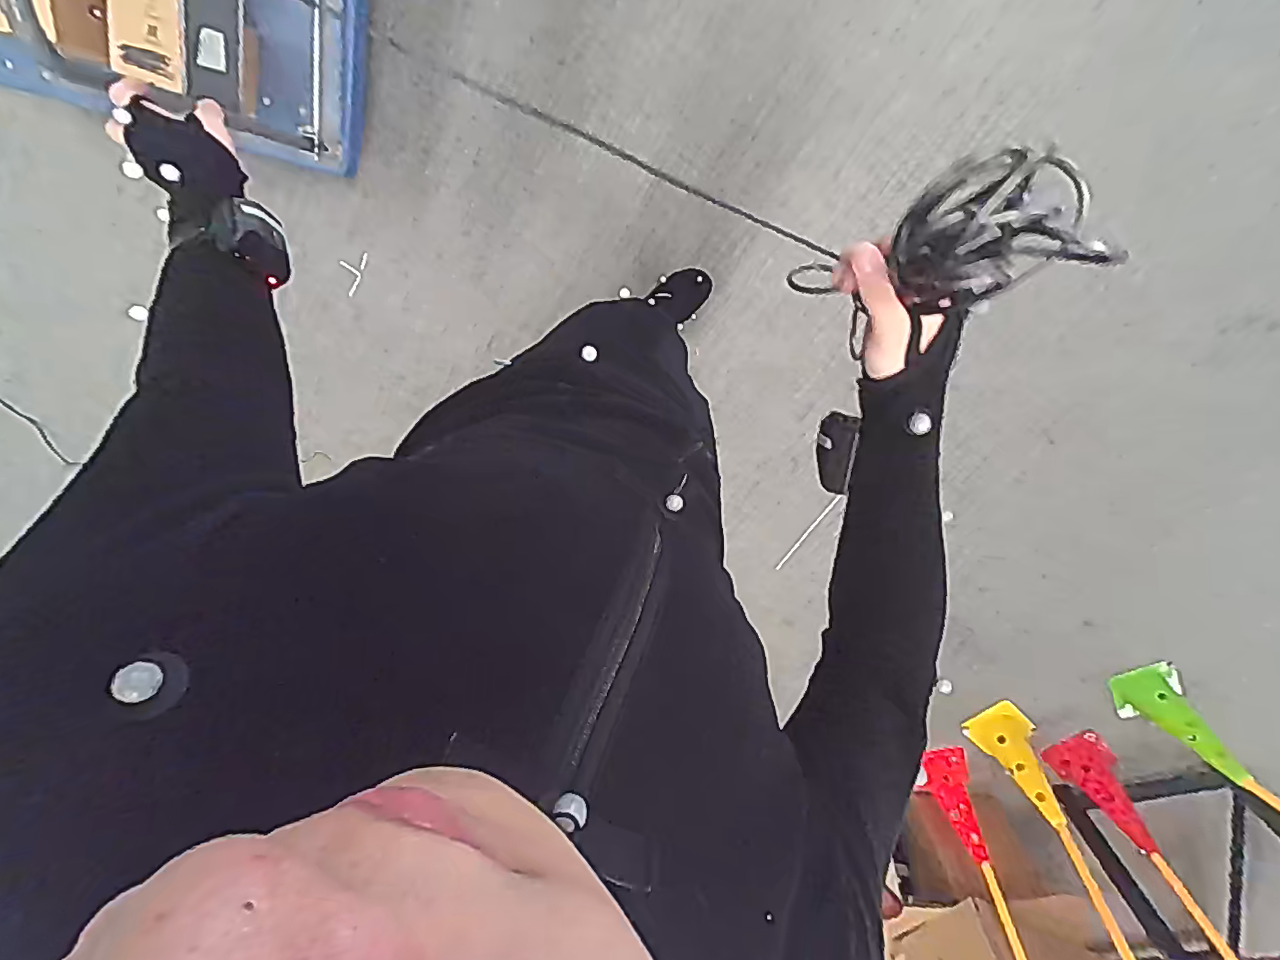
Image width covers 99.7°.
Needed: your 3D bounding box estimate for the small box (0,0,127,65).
[{"bbox_3d":[-1.177,-0.957,1.073,0.179,0.176,0.168,11,113,-1],"label":"small box"}]
